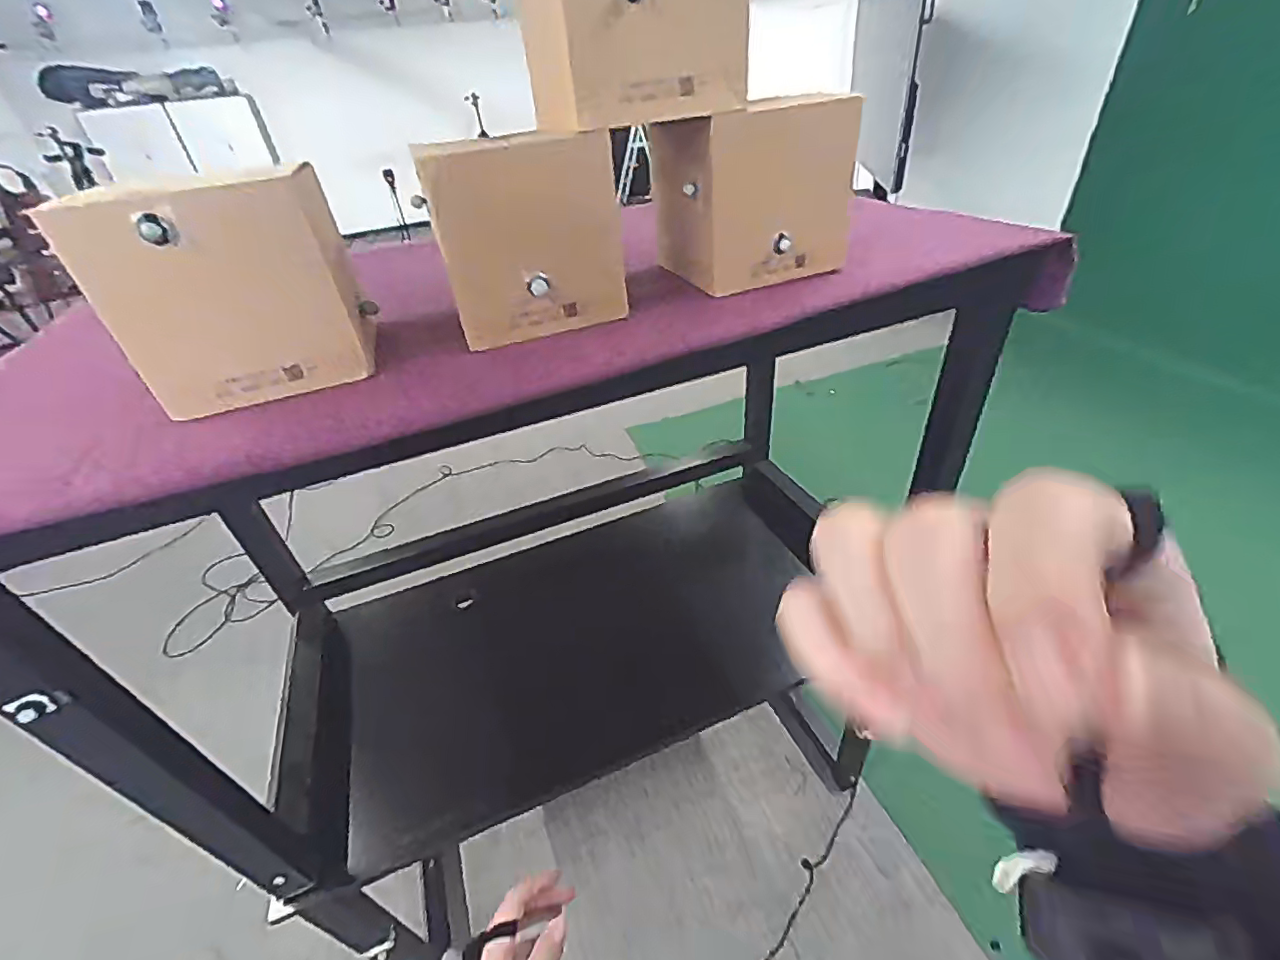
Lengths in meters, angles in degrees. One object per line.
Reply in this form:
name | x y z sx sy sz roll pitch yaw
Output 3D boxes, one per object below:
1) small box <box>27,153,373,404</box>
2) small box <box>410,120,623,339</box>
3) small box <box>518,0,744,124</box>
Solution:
small box | -0.360 -0.189 0.492 0.168 0.176 0.179 -18 37 -14
small box | -0.126 -0.262 0.558 0.168 0.176 0.179 -17 38 -14
small box | -0.013 -0.429 0.493 0.168 0.176 0.179 -17 37 -13
